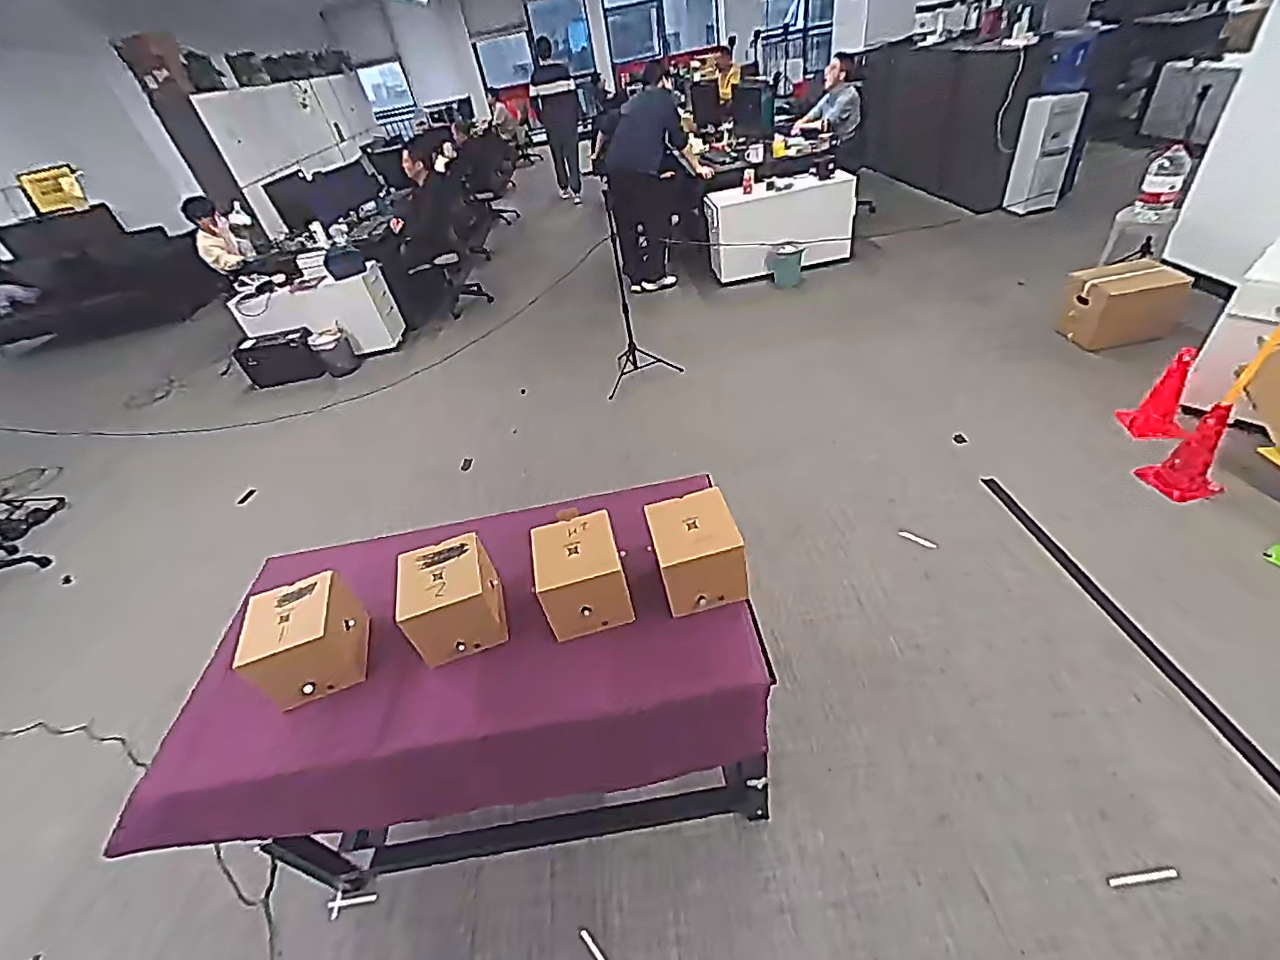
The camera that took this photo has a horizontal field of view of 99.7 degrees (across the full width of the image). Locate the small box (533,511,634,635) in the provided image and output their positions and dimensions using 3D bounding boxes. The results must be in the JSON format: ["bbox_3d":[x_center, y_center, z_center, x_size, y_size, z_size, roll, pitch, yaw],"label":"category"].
[{"bbox_3d":[-0.117,0.199,1.123,0.168,0.176,0.179,-15,39,-3],"label":"small box"}]

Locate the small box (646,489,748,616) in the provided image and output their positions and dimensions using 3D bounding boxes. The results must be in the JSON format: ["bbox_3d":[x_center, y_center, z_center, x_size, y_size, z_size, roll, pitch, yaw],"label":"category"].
[{"bbox_3d":[0.117,0.150,1.121,0.168,0.176,0.179,-15,39,-1],"label":"small box"}]

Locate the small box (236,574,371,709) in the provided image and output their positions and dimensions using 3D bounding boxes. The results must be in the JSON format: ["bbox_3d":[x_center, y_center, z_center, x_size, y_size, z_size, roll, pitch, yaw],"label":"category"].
[{"bbox_3d":[-0.675,0.330,1.110,0.168,0.176,0.179,-20,41,-9],"label":"small box"}]
